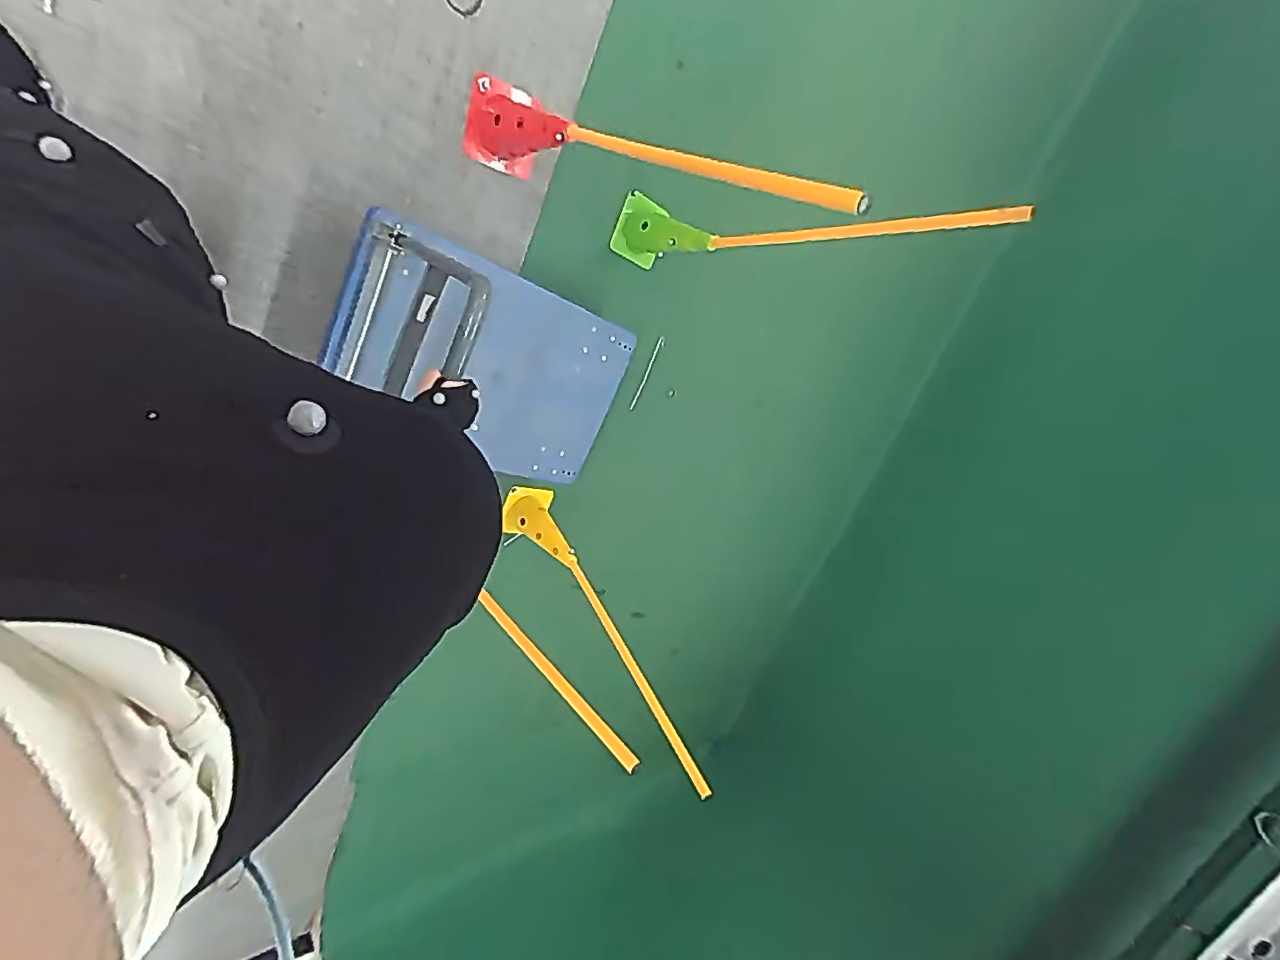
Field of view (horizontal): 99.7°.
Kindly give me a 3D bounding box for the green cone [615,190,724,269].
[{"bbox_3d":[0.120,-0.769,1.714,0.202,0.368,0.200,8,110,-46],"label":"green cone"}]
